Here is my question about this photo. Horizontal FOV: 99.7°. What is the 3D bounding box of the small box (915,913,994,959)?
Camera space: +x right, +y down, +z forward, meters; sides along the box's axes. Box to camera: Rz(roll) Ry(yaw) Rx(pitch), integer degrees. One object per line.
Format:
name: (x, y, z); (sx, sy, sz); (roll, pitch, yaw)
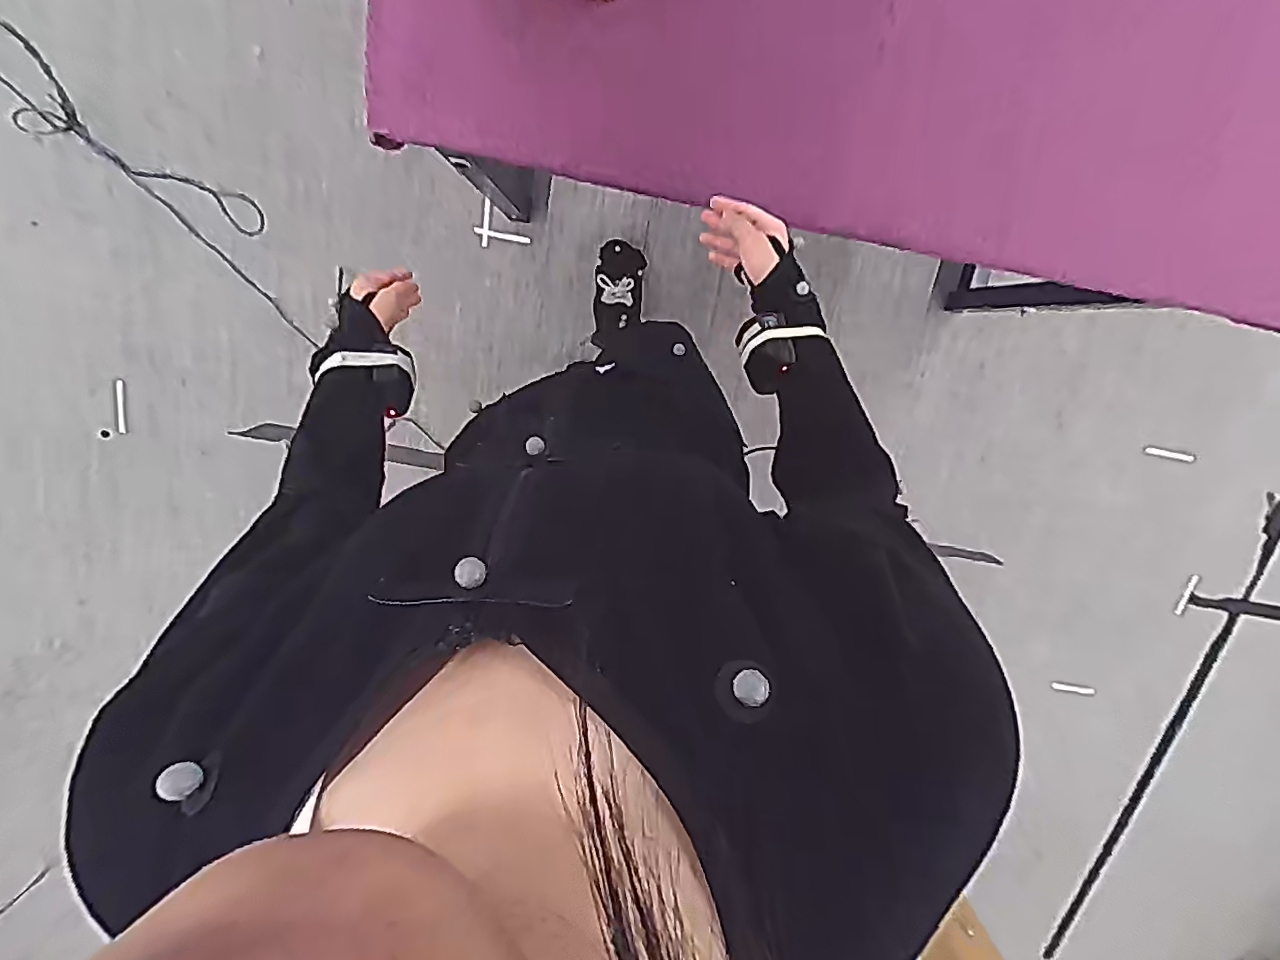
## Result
small box: (1.046, 1.588, 1.785); (0.168, 0.176, 0.179); (13, 105, -7)
